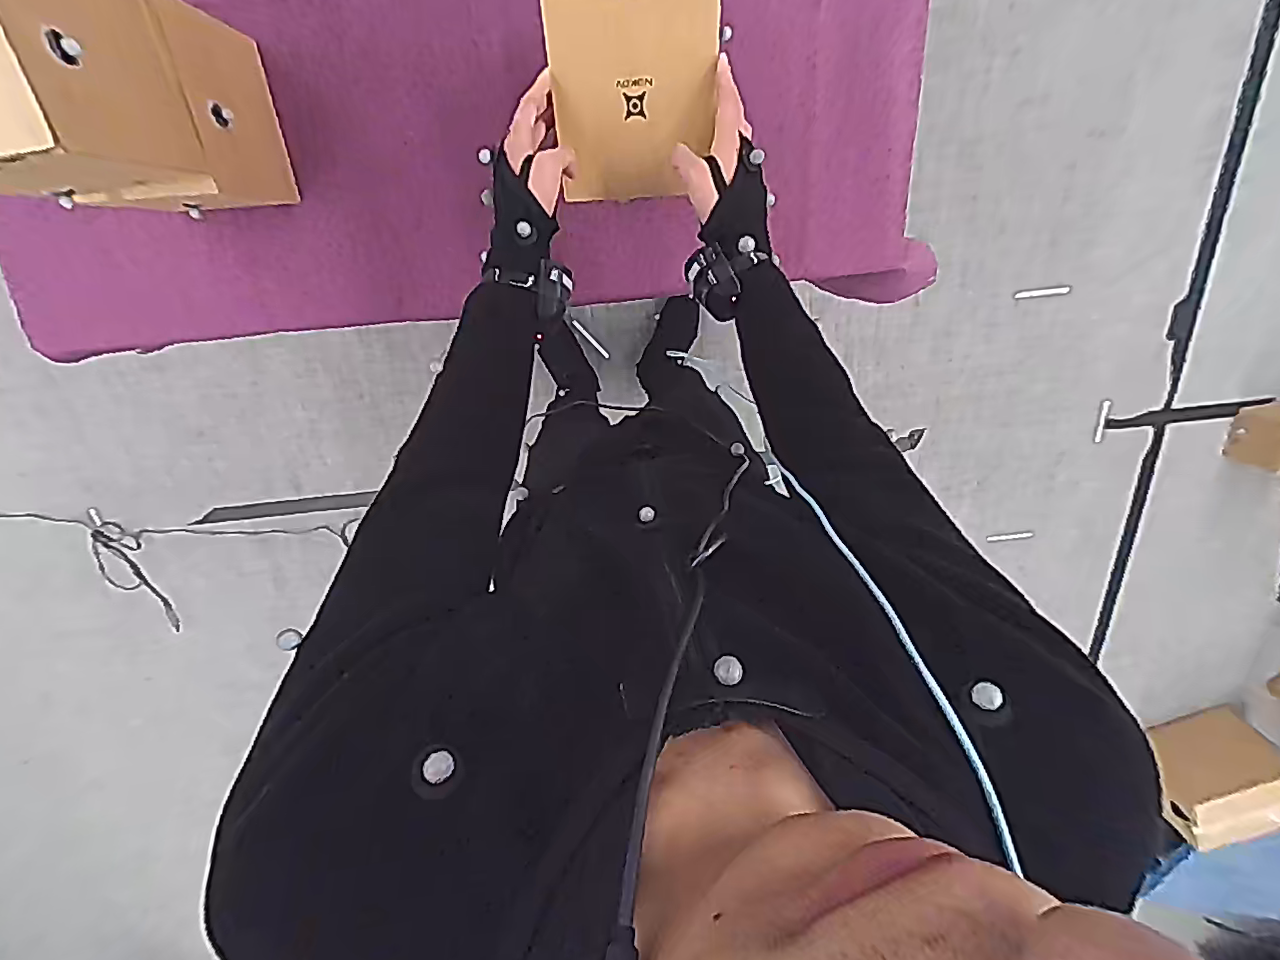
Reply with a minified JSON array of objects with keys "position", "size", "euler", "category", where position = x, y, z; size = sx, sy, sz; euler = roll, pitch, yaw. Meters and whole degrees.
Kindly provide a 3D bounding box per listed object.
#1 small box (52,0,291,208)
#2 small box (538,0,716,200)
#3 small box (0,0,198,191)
[{"position":[-0.527,-0.401,0.596],"size":[0.168,0.176,0.179],"euler":[-4,114,-2],"category":"small box"},{"position":[-0.007,-0.423,0.599],"size":[0.168,0.176,0.179],"euler":[-3,124,2],"category":"small box"},{"position":[-0.524,-0.345,0.442],"size":[0.168,0.176,0.179],"euler":[-8,114,0],"category":"small box"}]
